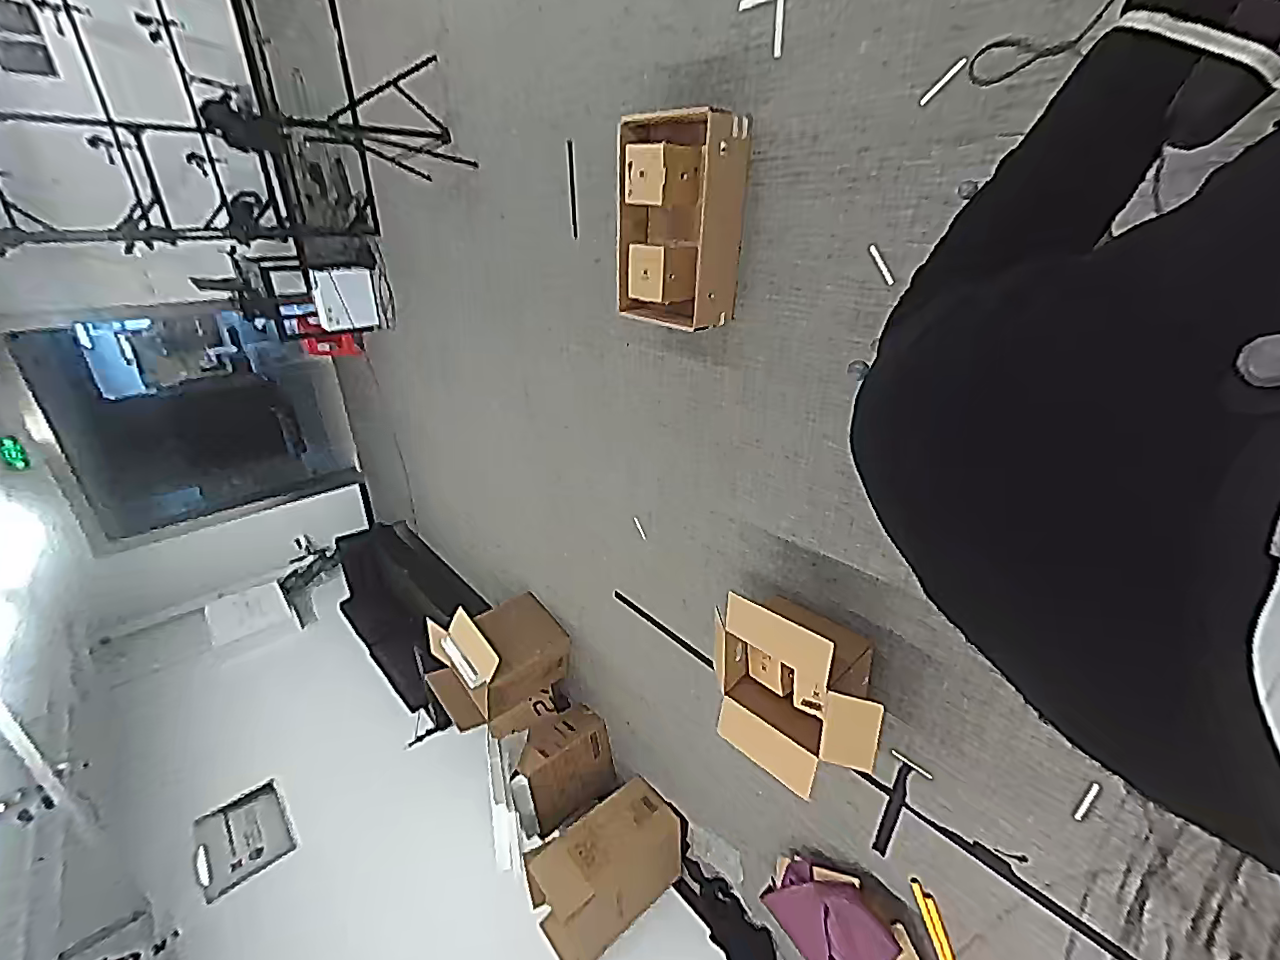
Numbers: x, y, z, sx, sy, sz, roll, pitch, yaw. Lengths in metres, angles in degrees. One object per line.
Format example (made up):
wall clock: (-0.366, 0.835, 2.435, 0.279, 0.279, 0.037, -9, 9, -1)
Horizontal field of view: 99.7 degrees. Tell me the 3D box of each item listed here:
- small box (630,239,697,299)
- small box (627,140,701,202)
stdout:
small box: (0.081, -0.729, 1.859, 0.168, 0.176, 0.179, 26, 124, 39)
small box: (0.078, -0.991, 1.734, 0.179, 0.176, 0.168, 29, 129, 38)
